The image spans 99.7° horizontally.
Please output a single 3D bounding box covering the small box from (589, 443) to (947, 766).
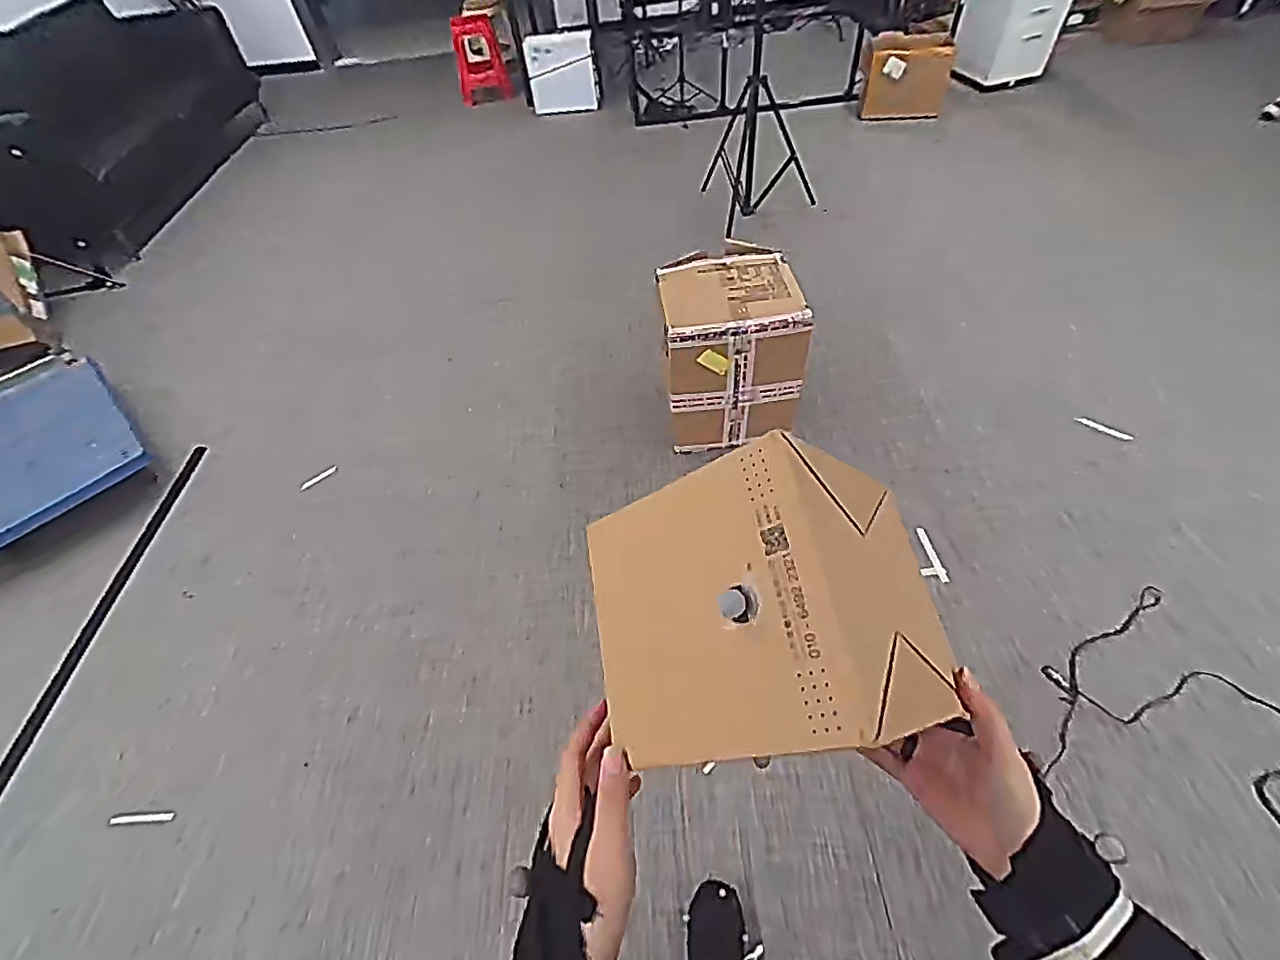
[{"bbox_3d":[0.090,0.095,0.386,0.176,0.179,0.168,-29,59,35],"label":"small box"}]
